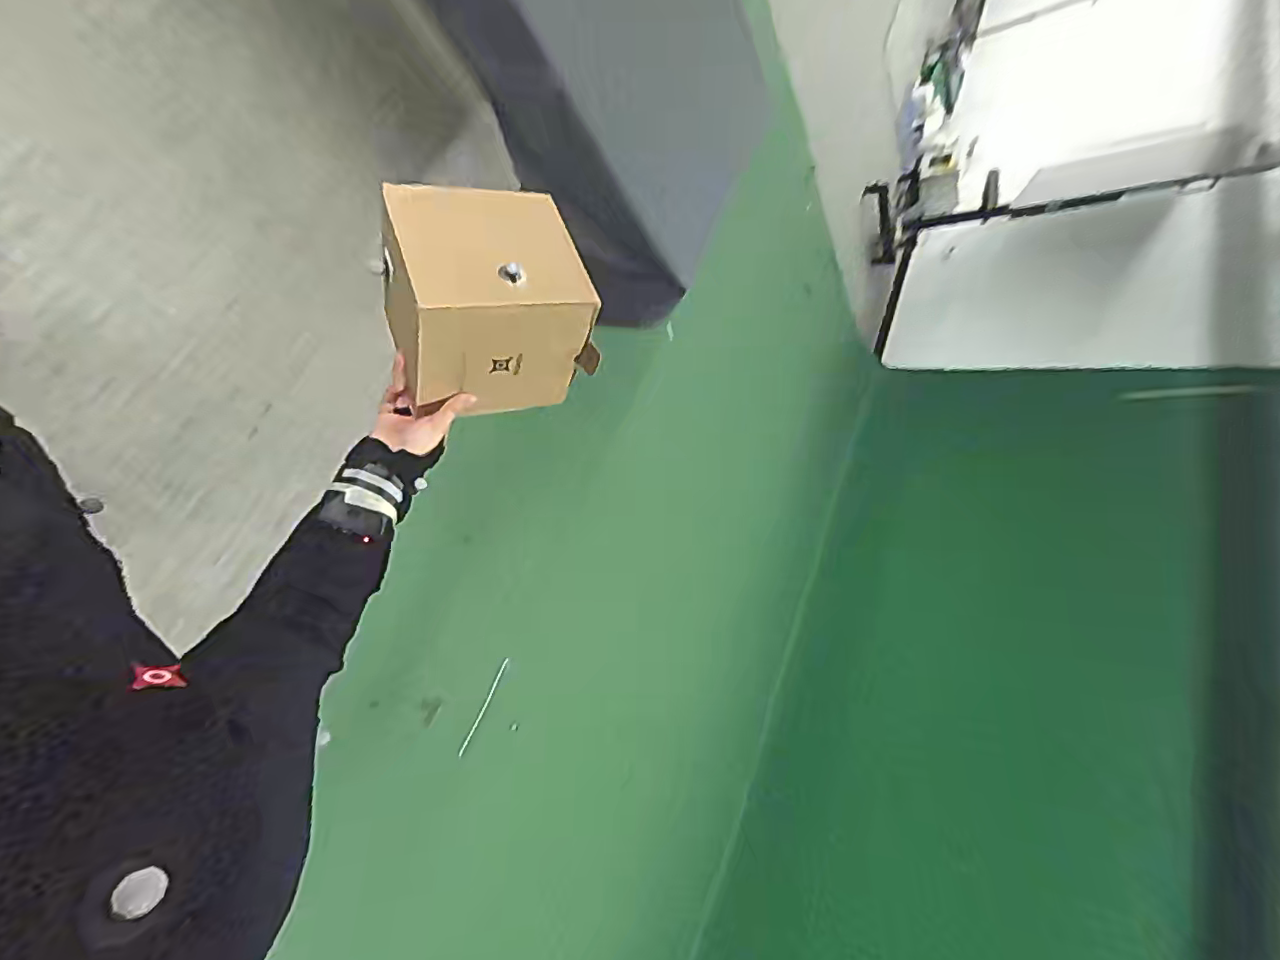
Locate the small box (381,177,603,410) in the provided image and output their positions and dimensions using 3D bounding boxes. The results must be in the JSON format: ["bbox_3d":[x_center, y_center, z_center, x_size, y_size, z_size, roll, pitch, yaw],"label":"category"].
[{"bbox_3d":[-0.168,-0.201,0.590,0.179,0.168,0.176,-12,65,-29],"label":"small box"}]
